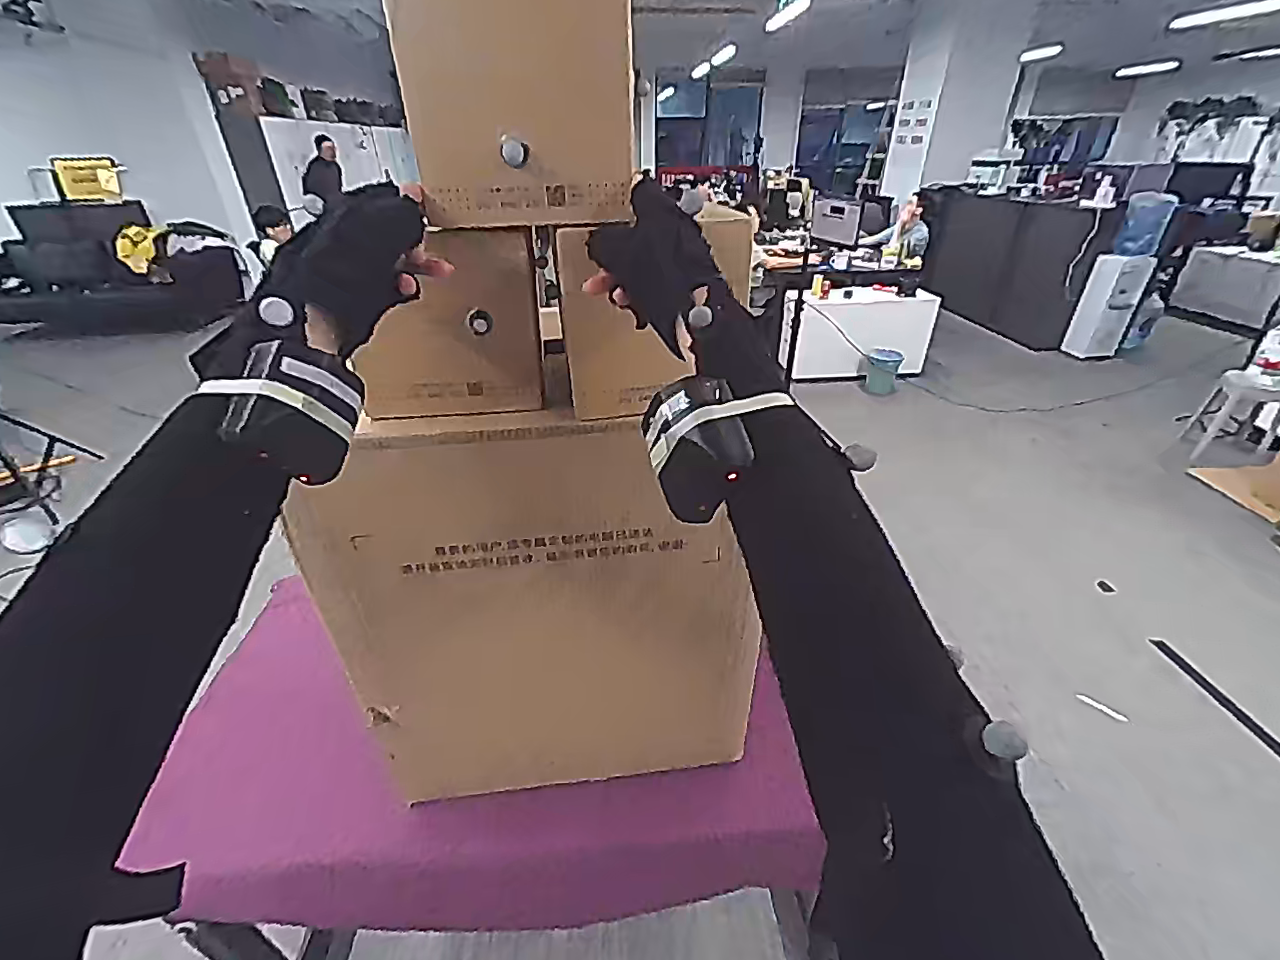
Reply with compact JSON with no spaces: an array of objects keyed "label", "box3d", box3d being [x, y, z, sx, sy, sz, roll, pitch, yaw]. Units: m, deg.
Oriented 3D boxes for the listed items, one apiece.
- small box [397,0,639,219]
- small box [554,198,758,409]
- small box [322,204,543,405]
[{"label":"small box","box3d":[-0.086,-0.320,0.455,0.168,0.176,0.179,-2,31,-1]},{"label":"small box","box3d":[0.005,-0.184,0.546,0.168,0.176,0.179,-8,31,-9]},{"label":"small box","box3d":[-0.186,-0.180,0.549,0.168,0.176,0.179,-3,30,-9]}]
